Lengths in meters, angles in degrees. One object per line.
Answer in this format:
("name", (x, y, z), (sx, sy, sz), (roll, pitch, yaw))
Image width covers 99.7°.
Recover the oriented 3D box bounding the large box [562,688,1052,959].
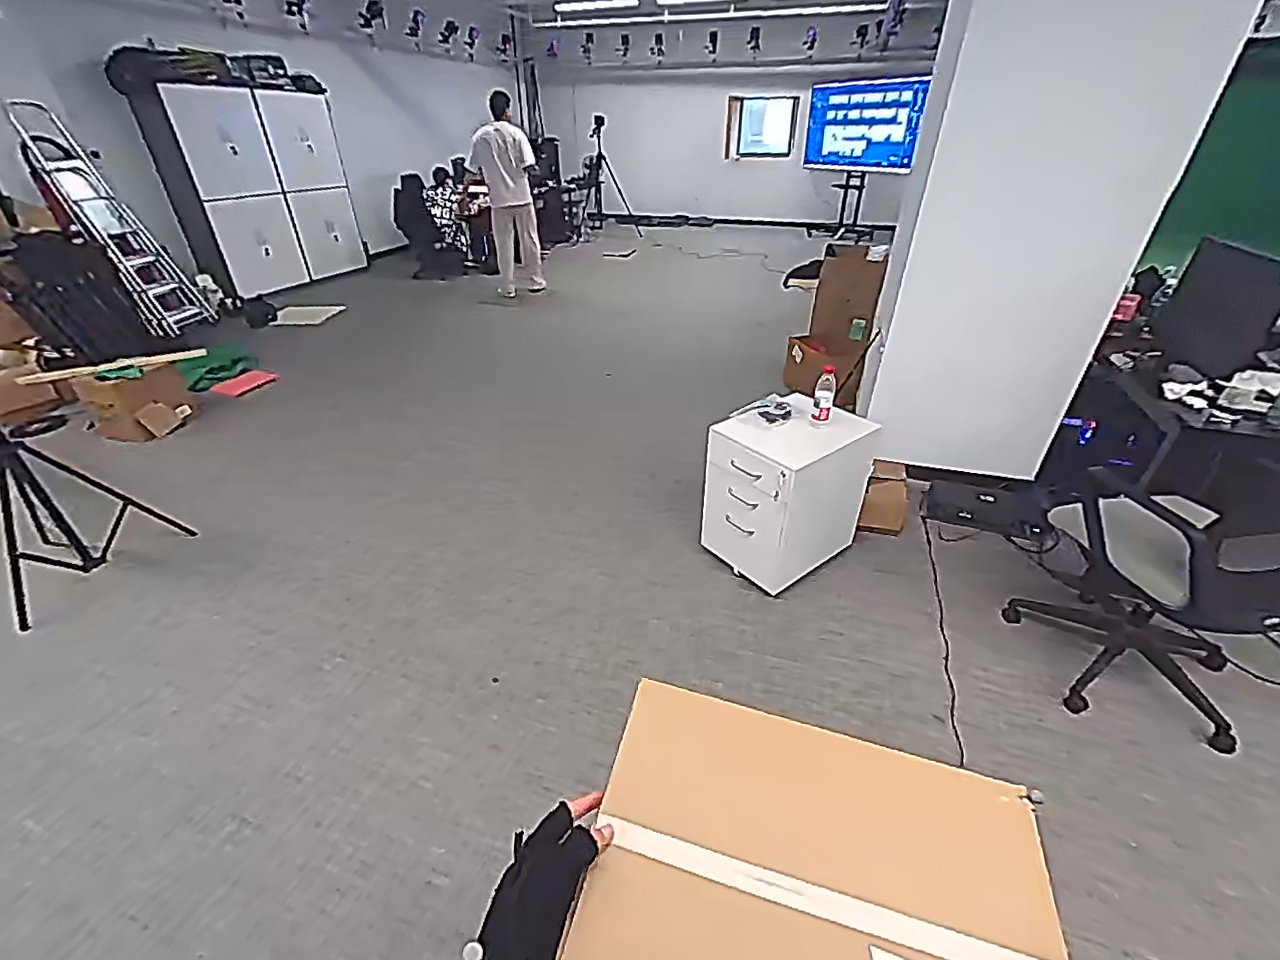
("large box", (0.146, 0.485, 0.579), (0.408, 0.320, 0.320), (12, 43, 11))
